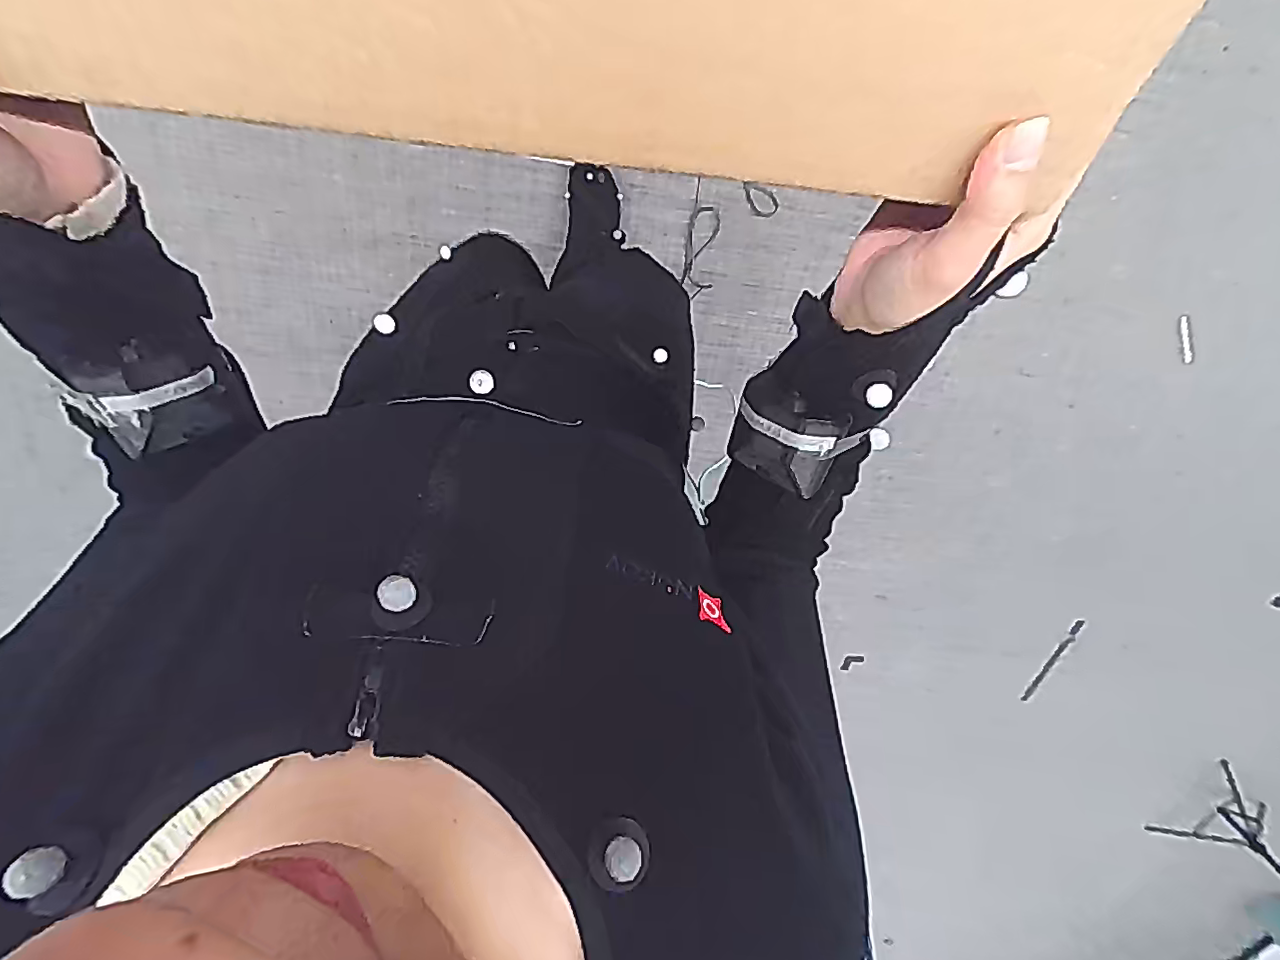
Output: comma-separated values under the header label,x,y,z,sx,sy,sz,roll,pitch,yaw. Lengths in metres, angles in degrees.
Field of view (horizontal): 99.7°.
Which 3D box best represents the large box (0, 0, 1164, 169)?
label,x,y,z,sx,sy,sz,roll,pitch,yaw
large box,-0.029,-0.337,0.161,0.408,0.320,0.320,3,144,-5
